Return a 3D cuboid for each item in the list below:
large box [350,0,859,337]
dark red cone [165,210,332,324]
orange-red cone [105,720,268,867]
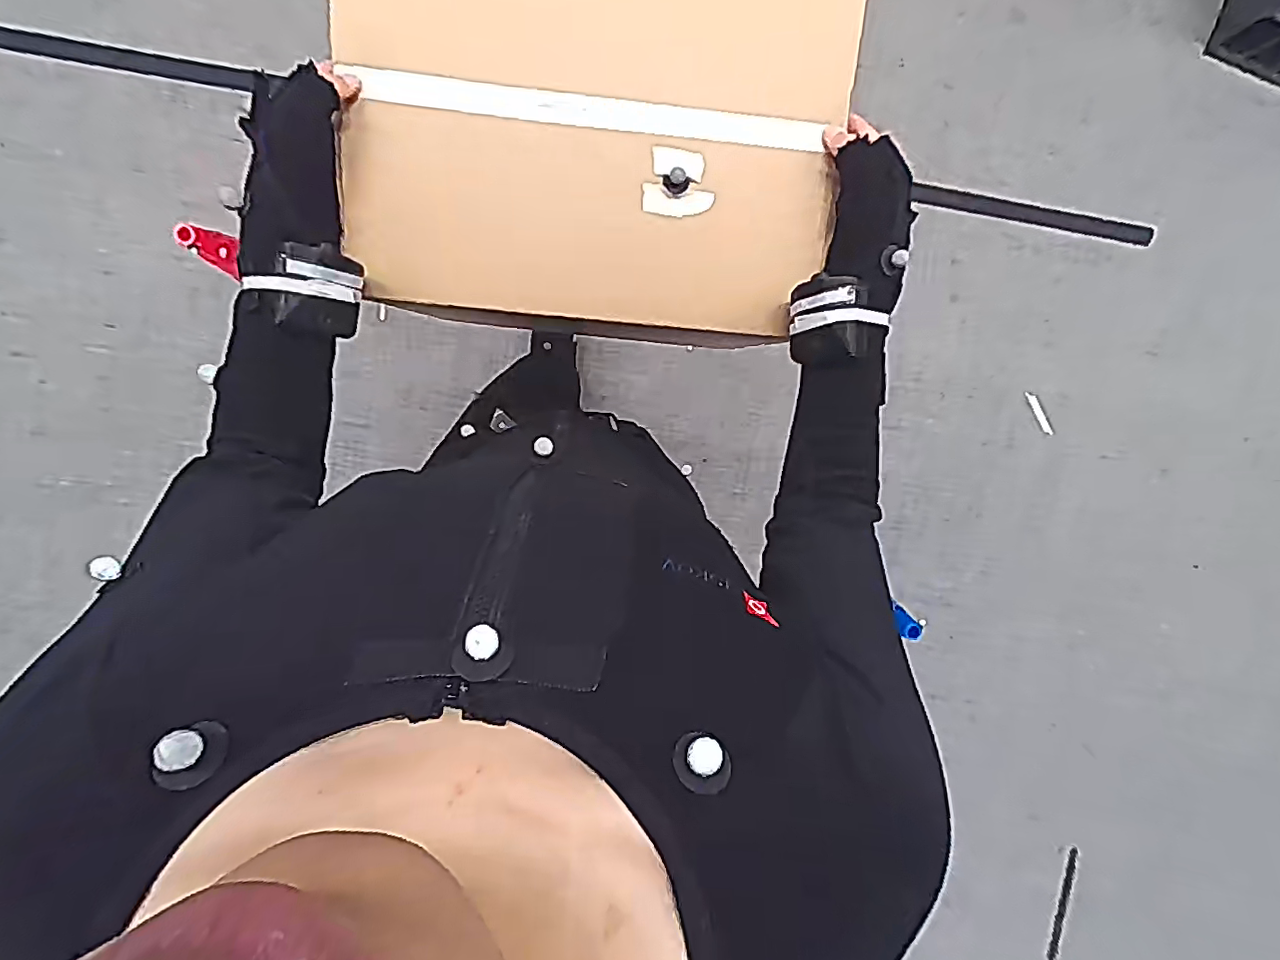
[{"bbox_3d":[-0.040,-0.333,0.581,0.408,0.320,0.320,4,102,-5],"label":"large box"},{"bbox_3d":[-0.855,-0.485,1.165,0.201,0.394,0.202,14,96,-6],"label":"dark red cone"},{"bbox_3d":[-1.116,0.781,1.314,0.198,0.360,0.199,6,97,-3],"label":"orange-red cone"}]
